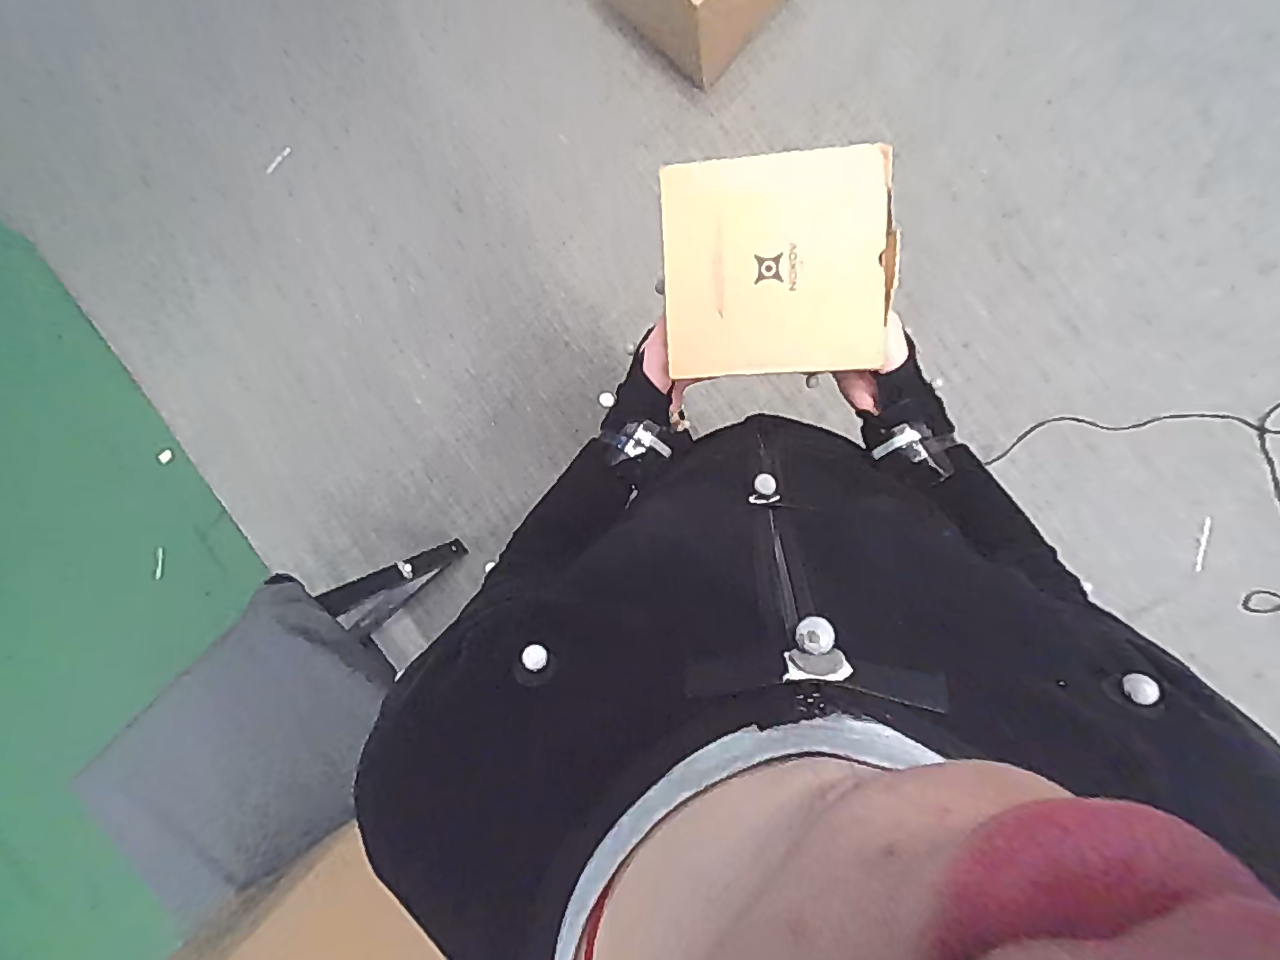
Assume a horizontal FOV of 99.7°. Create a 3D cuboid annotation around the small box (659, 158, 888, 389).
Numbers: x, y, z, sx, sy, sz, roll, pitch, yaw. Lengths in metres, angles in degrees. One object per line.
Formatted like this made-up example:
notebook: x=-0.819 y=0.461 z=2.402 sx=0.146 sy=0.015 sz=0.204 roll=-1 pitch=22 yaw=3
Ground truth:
small box: x=0.115 y=-0.175 z=0.508 sx=0.179 sy=0.176 sz=0.168 roll=-2 pitch=100 yaw=9
